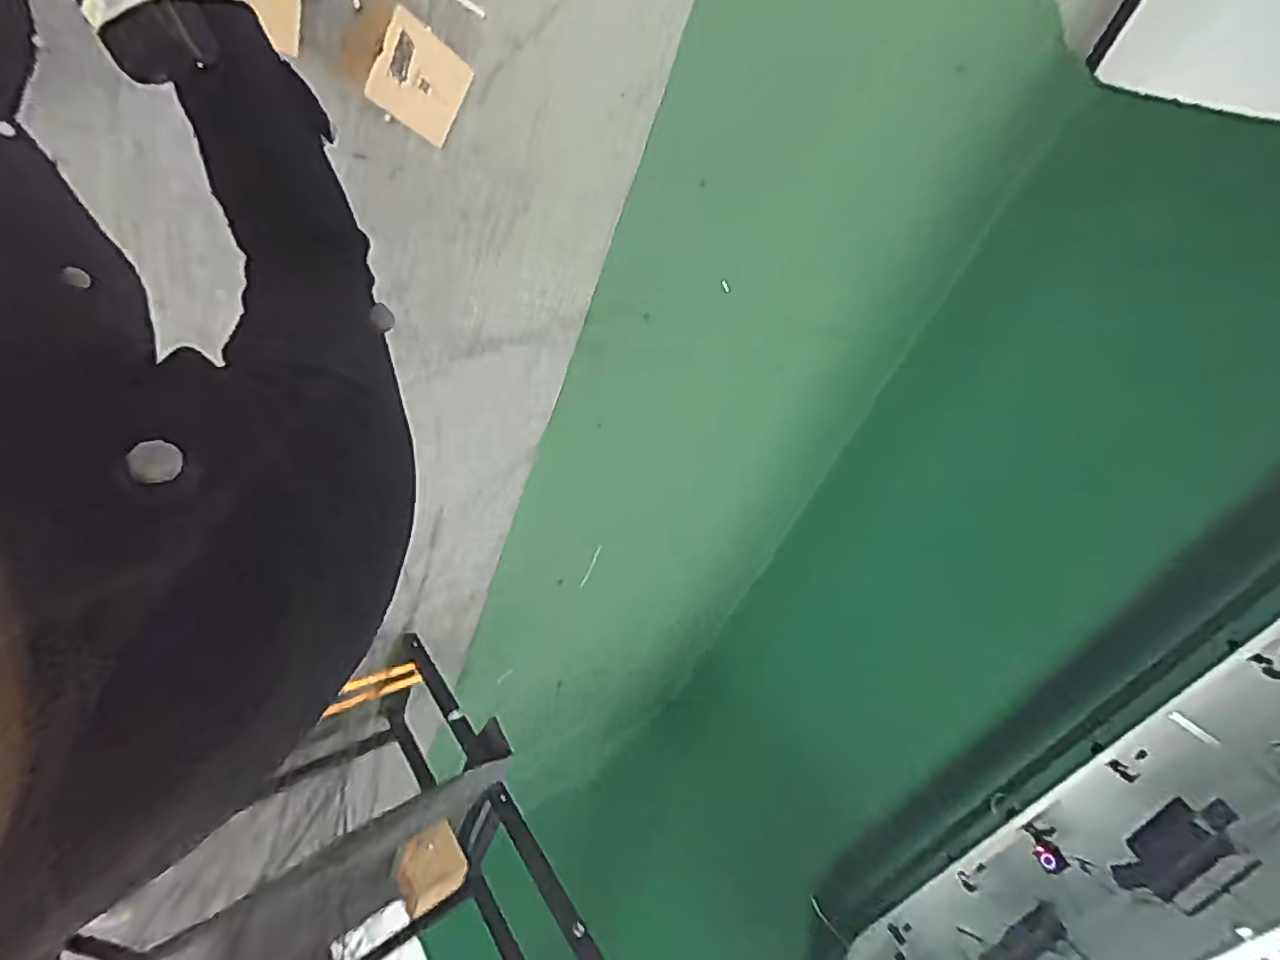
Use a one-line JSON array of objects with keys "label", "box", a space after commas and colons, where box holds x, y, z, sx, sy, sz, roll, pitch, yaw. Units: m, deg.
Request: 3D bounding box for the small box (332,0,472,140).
[{"label": "small box", "box": [-0.481, -0.832, 1.086, 0.179, 0.176, 0.168, 9, 119, -56]}]

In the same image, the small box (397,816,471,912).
[{"label": "small box", "box": [-0.692, 1.272, 1.802, 0.168, 0.176, 0.179, -12, 135, -45]}]
